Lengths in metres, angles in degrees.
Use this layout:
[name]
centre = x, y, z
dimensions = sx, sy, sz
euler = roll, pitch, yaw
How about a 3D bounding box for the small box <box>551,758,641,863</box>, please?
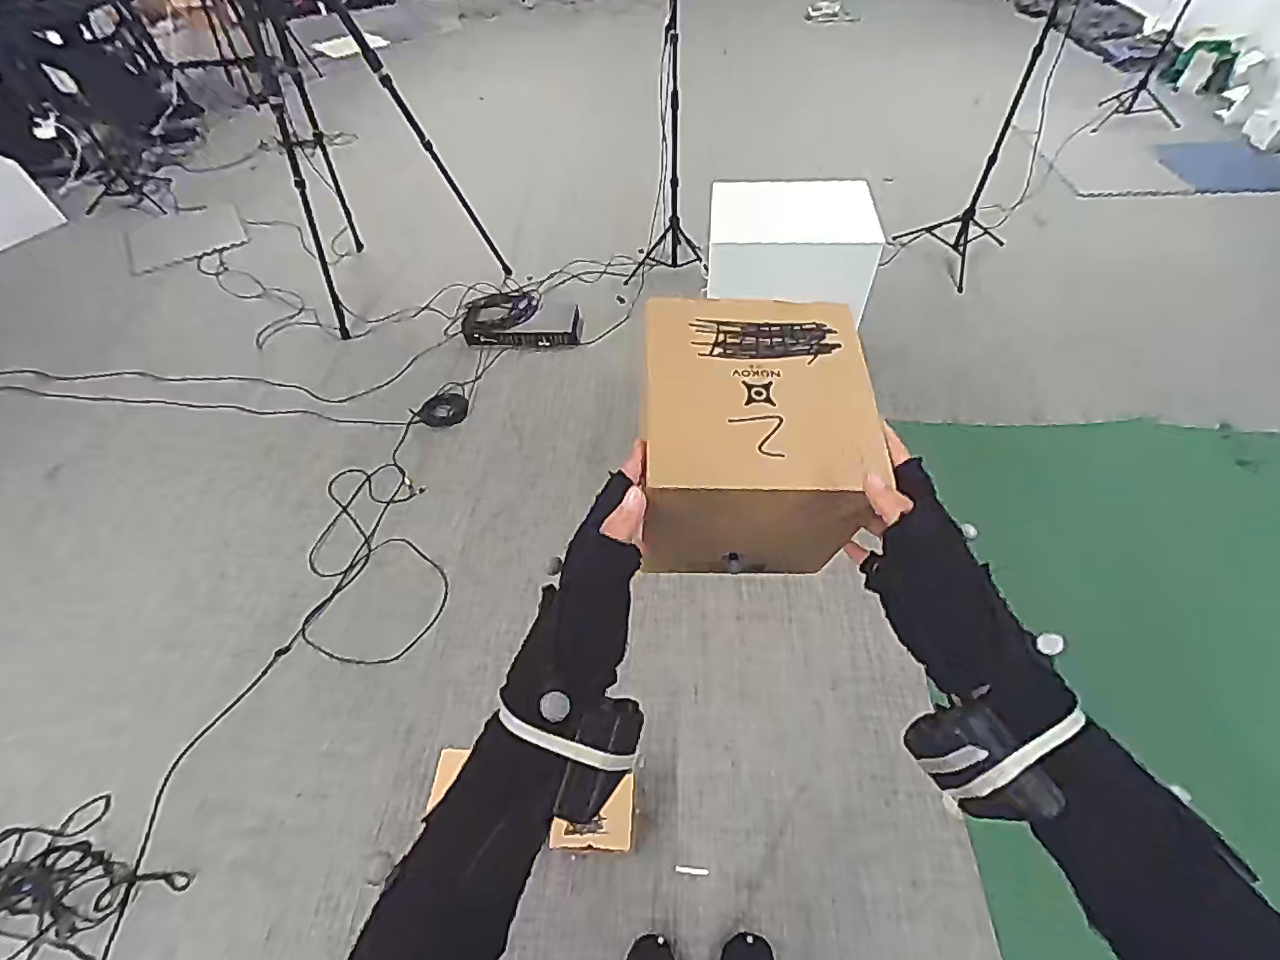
[small box]
centre = -0.087, 0.729, 1.189
dimensions = 0.168, 0.176, 0.179
euler = 0, 51, 5
